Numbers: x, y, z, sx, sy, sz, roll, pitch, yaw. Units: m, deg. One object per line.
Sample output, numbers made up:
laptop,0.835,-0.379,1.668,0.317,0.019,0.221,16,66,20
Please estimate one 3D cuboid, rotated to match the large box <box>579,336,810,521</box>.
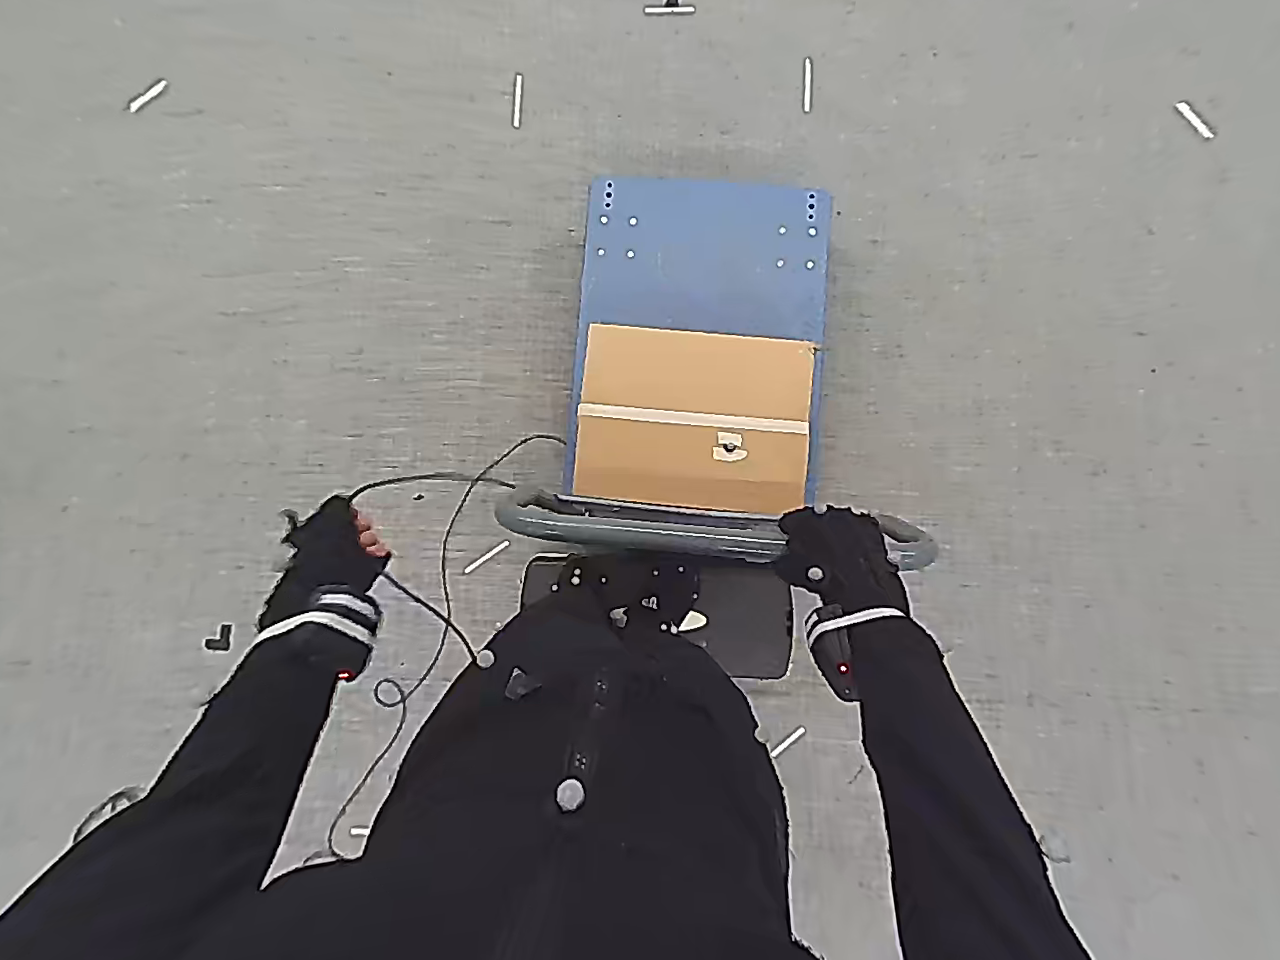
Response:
large box,0.101,-0.085,1.123,0.408,0.320,0.320,6,87,2
